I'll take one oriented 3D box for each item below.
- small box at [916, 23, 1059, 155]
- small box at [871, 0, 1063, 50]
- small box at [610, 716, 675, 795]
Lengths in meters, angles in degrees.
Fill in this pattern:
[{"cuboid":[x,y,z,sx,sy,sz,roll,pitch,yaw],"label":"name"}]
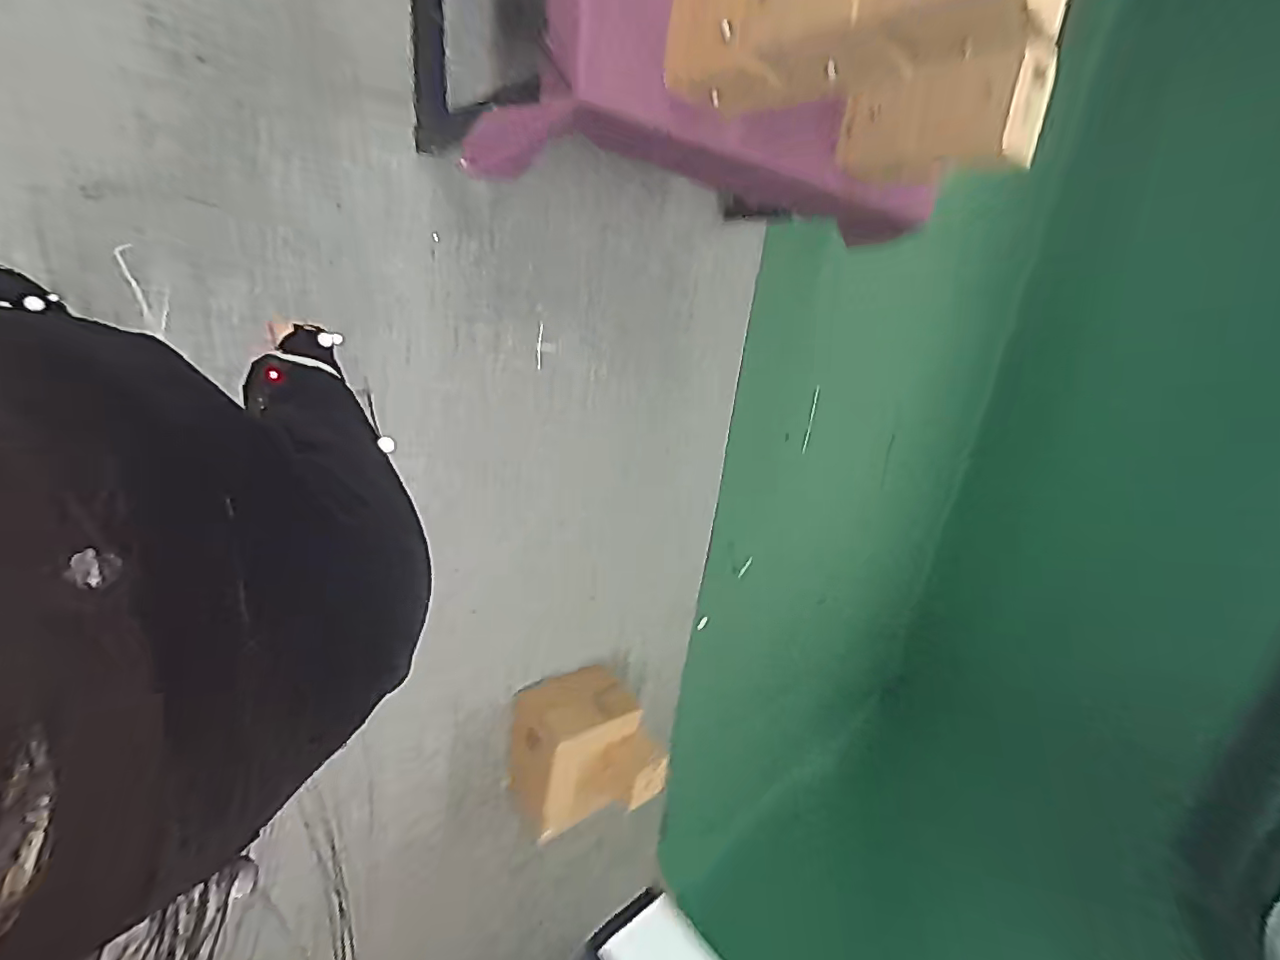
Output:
[{"cuboid":[0.659,-0.746,1.039,0.168,0.176,0.179,-13,117,-38],"label":"small box"},{"cuboid":[0.371,-0.619,0.597,0.168,0.176,0.179,-10,114,-41],"label":"small box"},{"cuboid":[0.005,1.053,2.076,0.168,0.176,0.179,-7,115,-42],"label":"small box"}]
